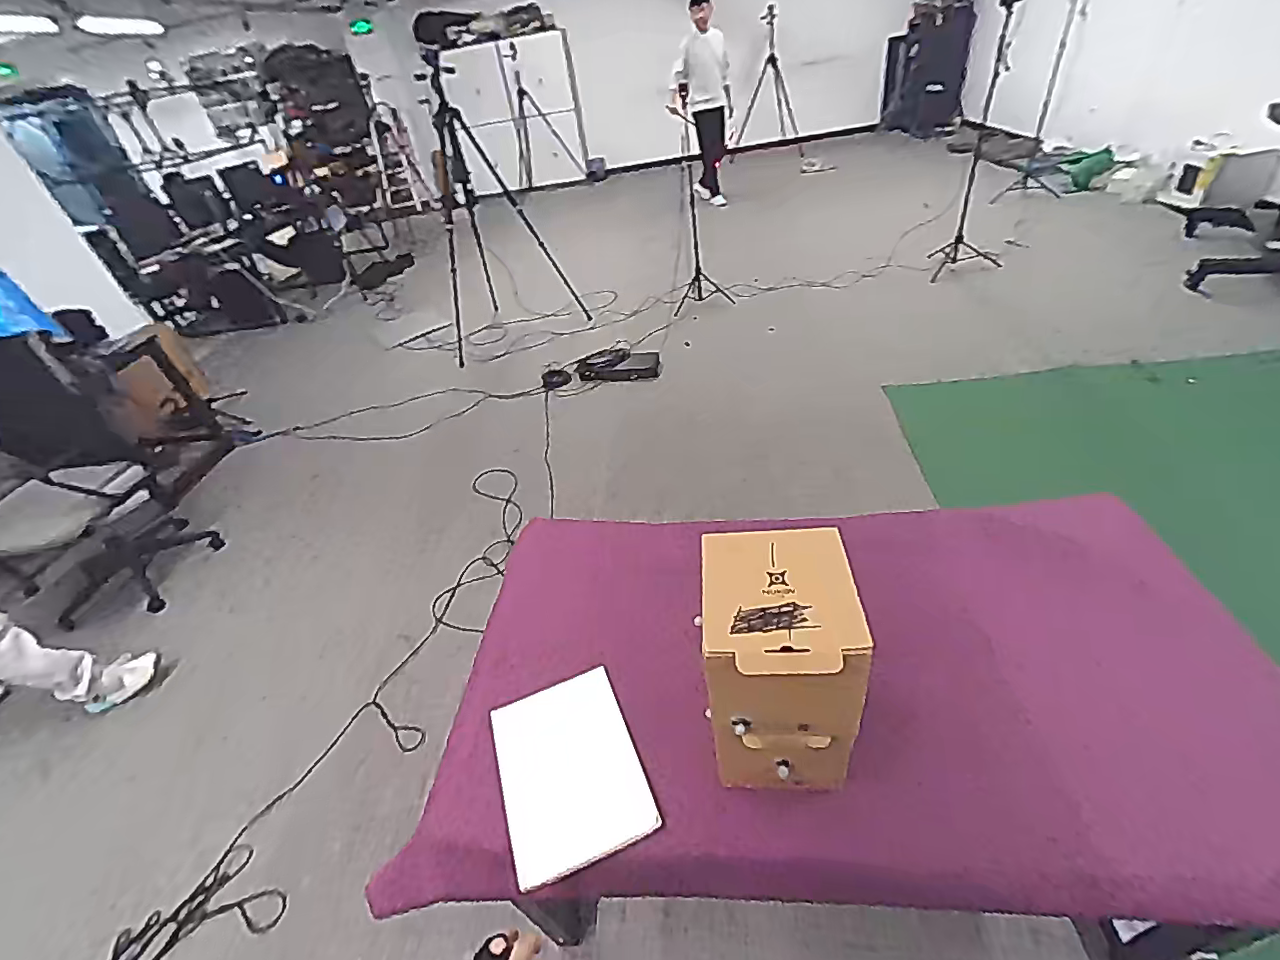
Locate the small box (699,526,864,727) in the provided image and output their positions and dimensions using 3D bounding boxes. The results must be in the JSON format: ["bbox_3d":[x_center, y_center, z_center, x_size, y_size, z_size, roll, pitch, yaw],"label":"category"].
[{"bbox_3d":[0.162,0.178,0.652,0.168,0.176,0.179,-3,38,9],"label":"small box"}]

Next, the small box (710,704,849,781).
[{"bbox_3d":[0.186,0.302,0.760,0.168,0.176,0.179,-3,40,9],"label":"small box"}]
